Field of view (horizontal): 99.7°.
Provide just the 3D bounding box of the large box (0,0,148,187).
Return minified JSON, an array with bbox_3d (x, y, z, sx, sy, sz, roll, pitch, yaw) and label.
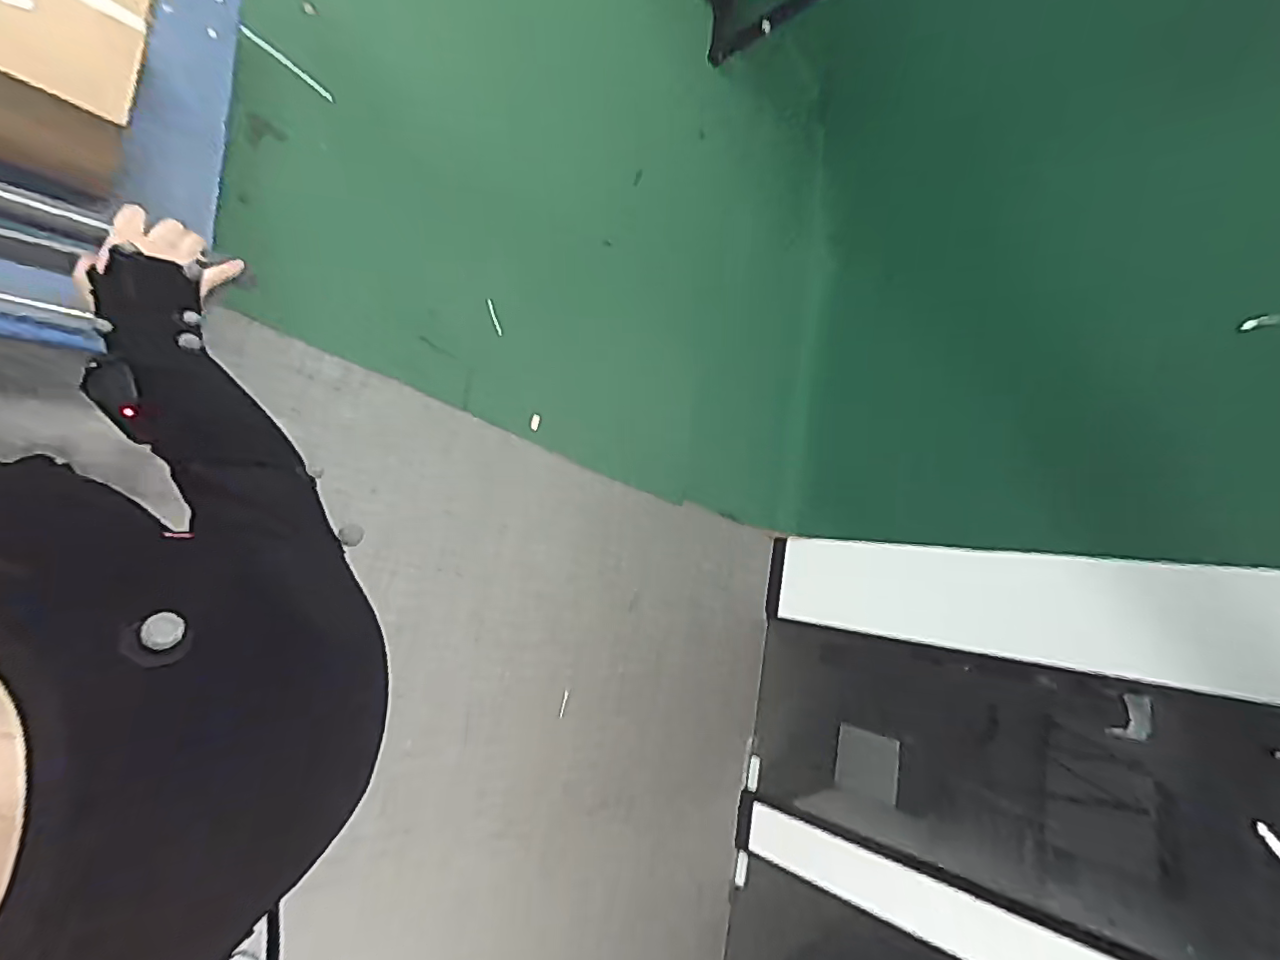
[{"bbox_3d":[-0.991,-0.706,0.760,0.408,0.320,0.320,12,81,-48],"label":"large box"}]
